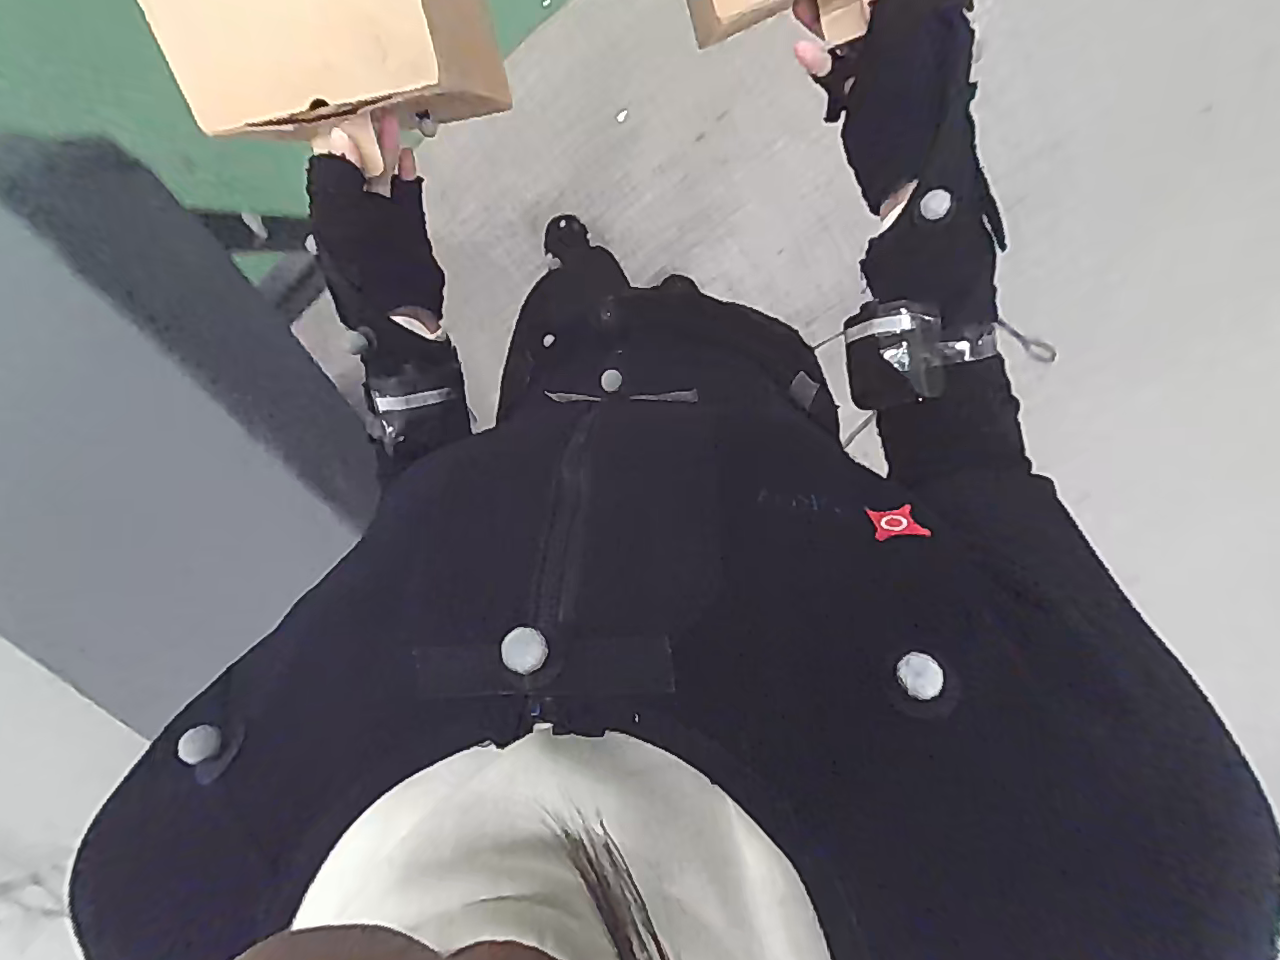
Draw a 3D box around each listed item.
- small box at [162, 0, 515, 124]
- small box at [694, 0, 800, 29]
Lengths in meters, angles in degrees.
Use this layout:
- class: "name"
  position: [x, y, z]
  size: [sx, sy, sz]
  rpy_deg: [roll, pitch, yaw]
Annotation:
- class: "small box"
  position: [-0.196, -0.353, 0.362]
  size: [0.168, 0.176, 0.179]
  rpy_deg: [-6, 119, 6]
- class: "small box"
  position: [0.100, -0.403, 0.320]
  size: [0.168, 0.176, 0.179]
  rpy_deg: [-16, 123, 11]
